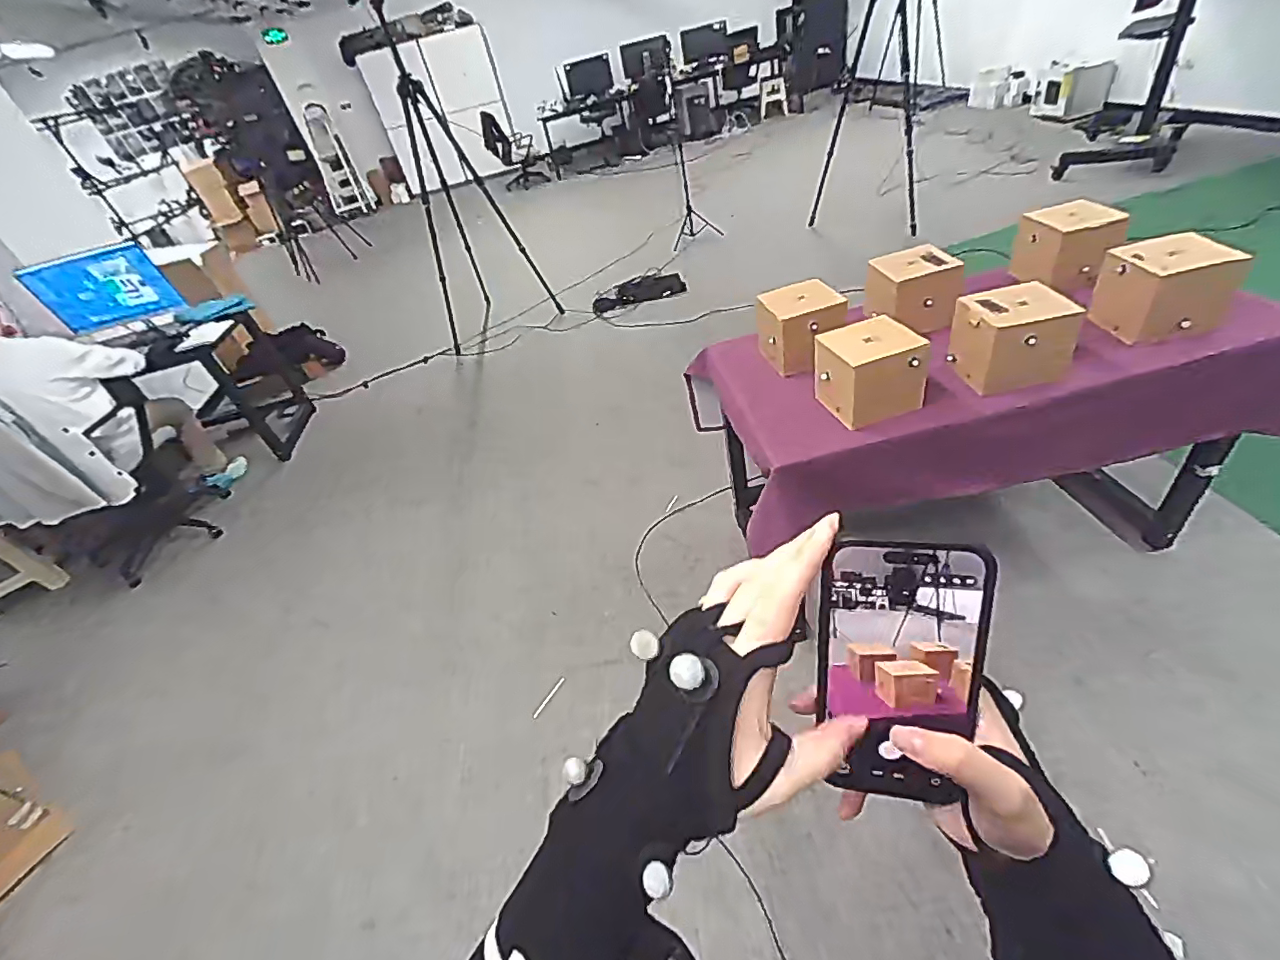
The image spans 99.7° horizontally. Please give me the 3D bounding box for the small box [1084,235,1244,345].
[{"bbox_3d":[1.168,-0.428,1.225,0.179,0.176,0.168,-10,40,6],"label":"small box"}]

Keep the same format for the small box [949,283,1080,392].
[{"bbox_3d":[0.815,-0.313,1.205,0.179,0.176,0.168,-10,40,5],"label":"small box"}]

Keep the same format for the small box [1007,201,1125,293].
[{"bbox_3d":[1.137,-0.628,1.464,0.168,0.176,0.179,-13,41,4],"label":"small box"}]

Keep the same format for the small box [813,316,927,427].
[{"bbox_3d":[0.510,-0.243,1.221,0.179,0.176,0.168,-17,40,-4],"label":"small box"}]
